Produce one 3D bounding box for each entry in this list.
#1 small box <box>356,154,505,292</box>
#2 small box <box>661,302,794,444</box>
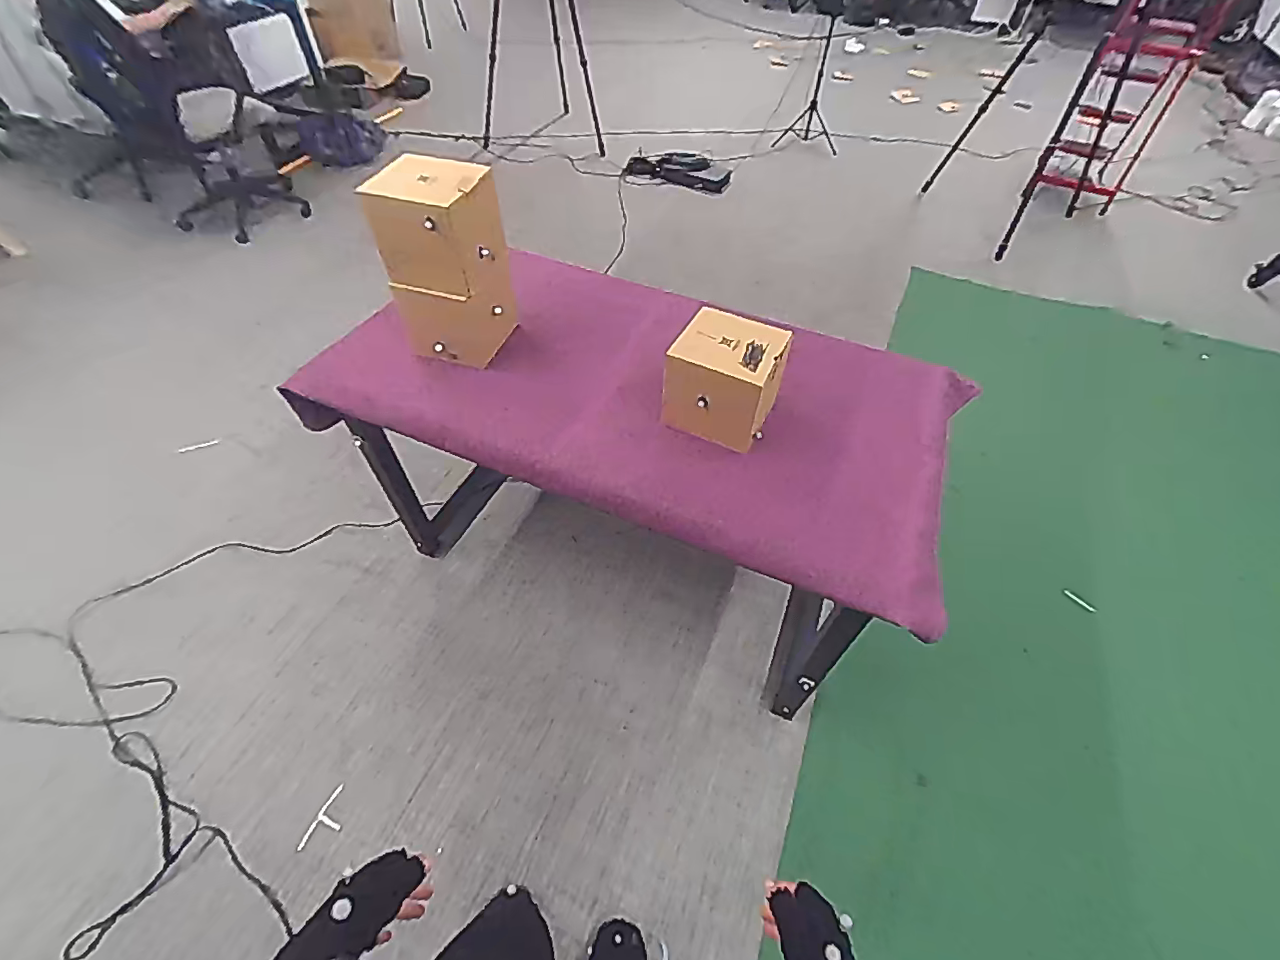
[{"bbox_3d":[-0.371,-0.470,0.995,0.179,0.176,0.168,13,53,9],"label":"small box"},{"bbox_3d":[0.154,-0.191,0.989,0.179,0.176,0.168,25,53,18],"label":"small box"}]
